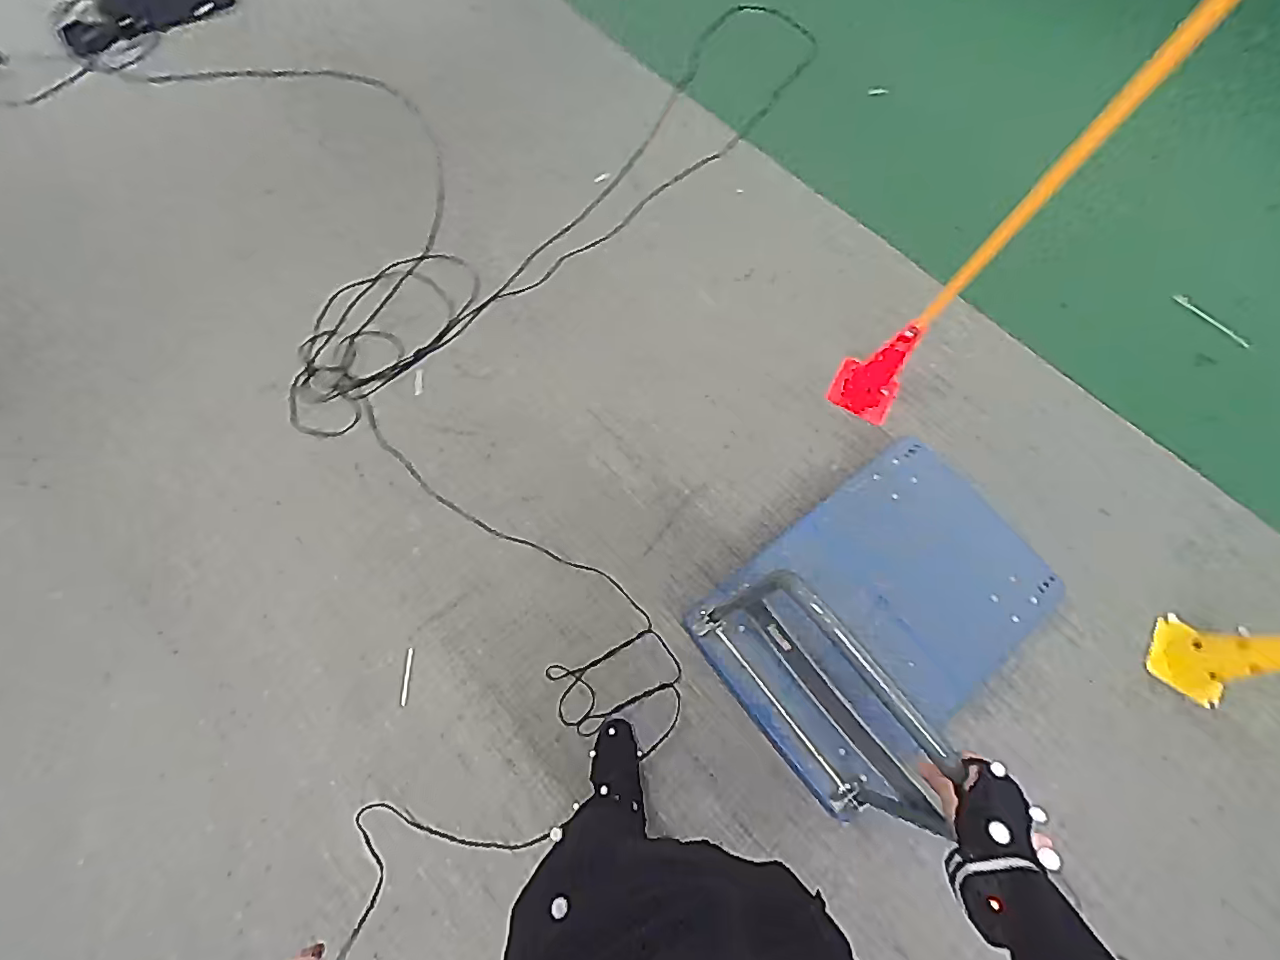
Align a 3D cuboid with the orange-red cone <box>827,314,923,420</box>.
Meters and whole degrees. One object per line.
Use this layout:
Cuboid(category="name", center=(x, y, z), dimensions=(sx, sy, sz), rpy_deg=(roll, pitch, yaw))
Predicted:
Cuboid(category="orange-red cone", center=(0.750, -0.374, 1.646), dimensions=(0.199, 0.360, 0.198), rpy_deg=(30, 69, 9))
